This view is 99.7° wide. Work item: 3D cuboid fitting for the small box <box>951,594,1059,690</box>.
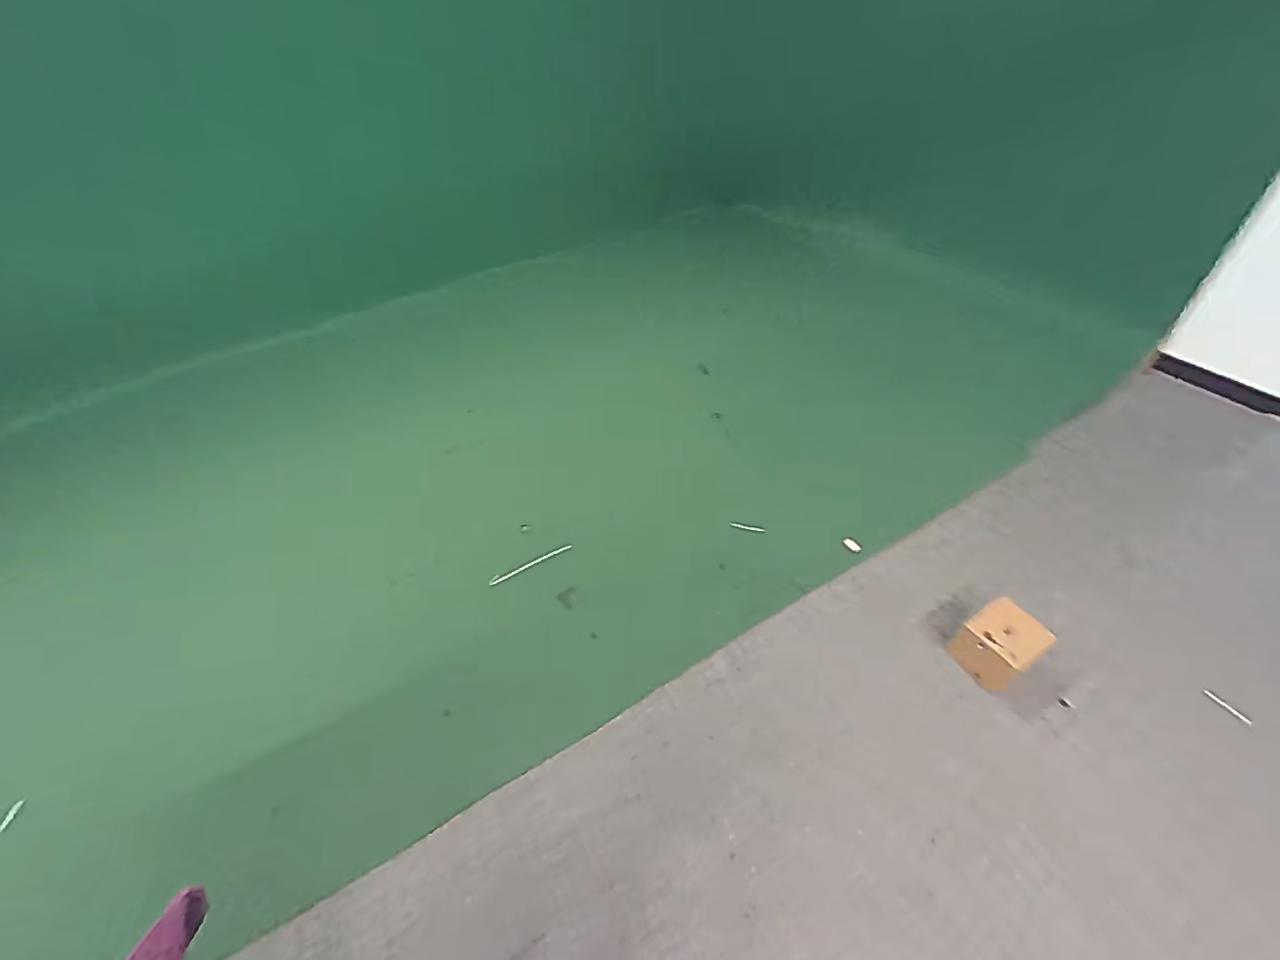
[{"bbox_3d":[1.039,0.467,1.556,0.179,0.176,0.168,-25,48,-17],"label":"small box"}]
